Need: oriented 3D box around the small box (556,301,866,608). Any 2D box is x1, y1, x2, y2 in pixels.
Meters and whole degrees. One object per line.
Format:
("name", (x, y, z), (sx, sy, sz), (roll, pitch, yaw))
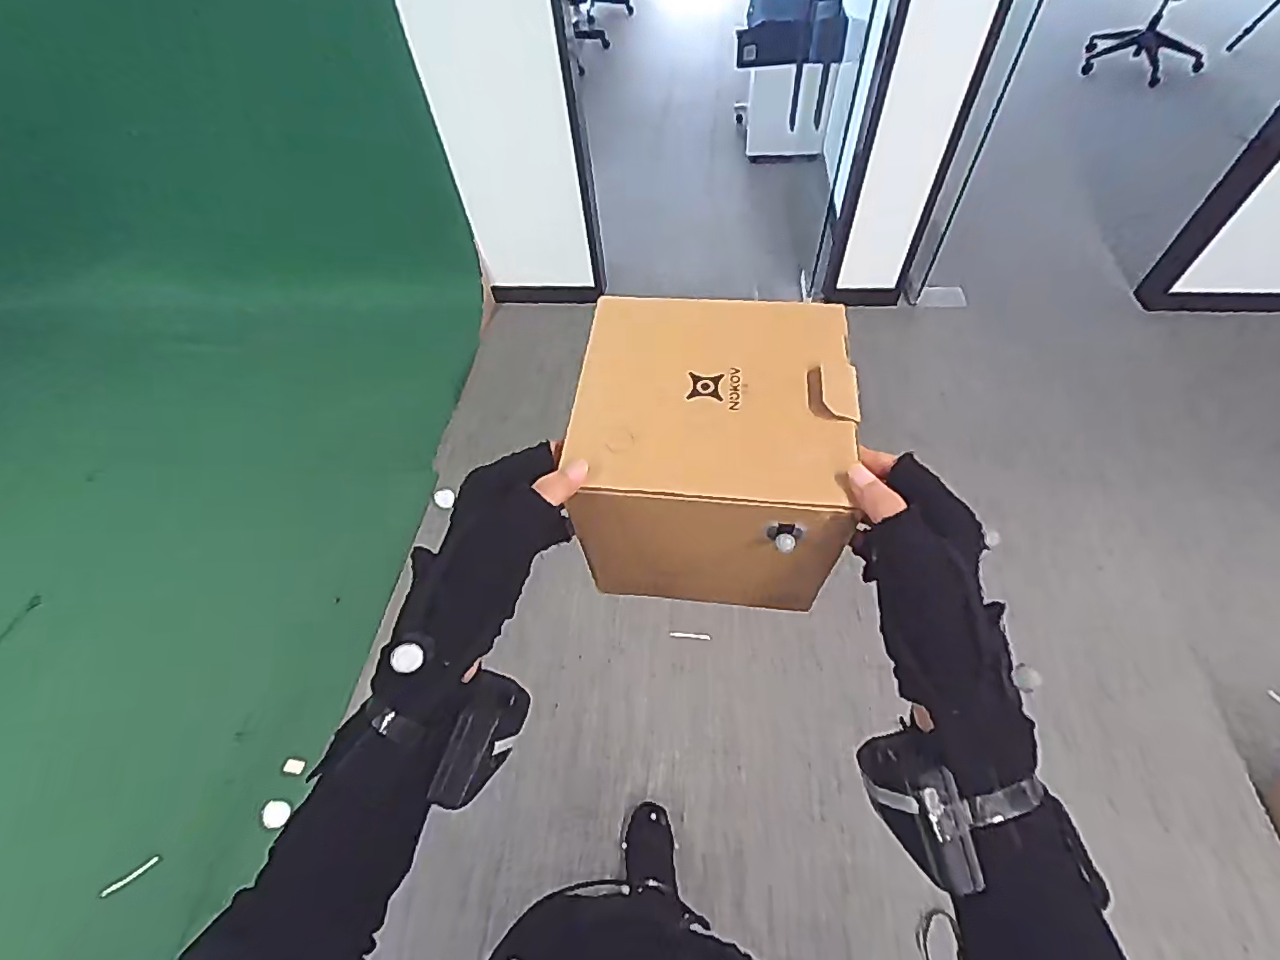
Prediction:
("small box", (0.051, -0.013, 0.409), (0.179, 0.176, 0.168), (4, 58, 6))
